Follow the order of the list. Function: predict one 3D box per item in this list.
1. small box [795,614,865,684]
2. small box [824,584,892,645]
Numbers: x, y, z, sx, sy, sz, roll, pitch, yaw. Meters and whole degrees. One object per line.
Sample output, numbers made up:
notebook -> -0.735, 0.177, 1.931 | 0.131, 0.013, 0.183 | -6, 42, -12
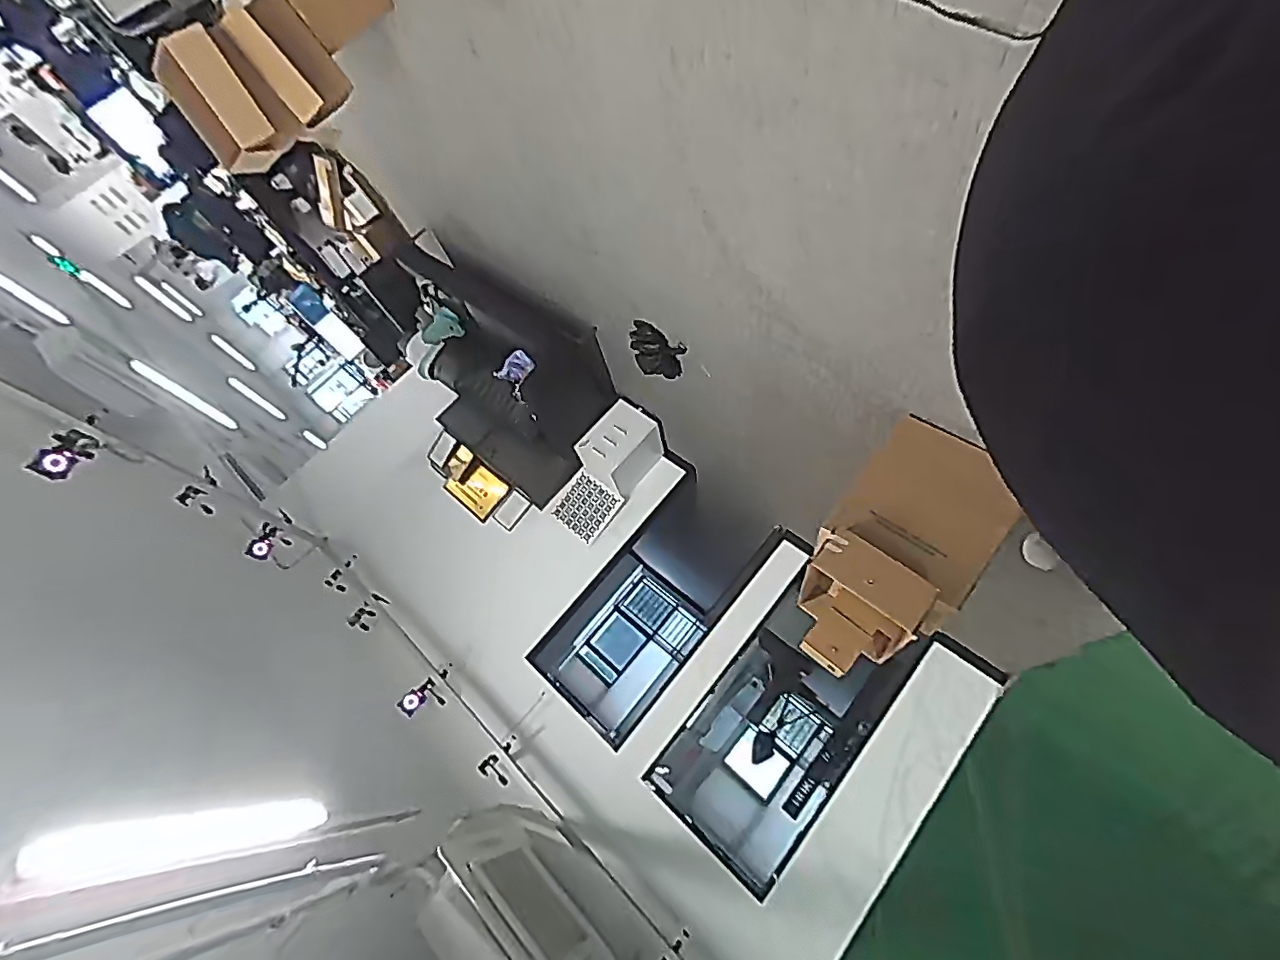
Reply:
small box -> 0.707, 0.630, 2.014 | 0.179, 0.176, 0.168 | 39, 167, 24
small box -> 0.818, 0.516, 2.052 | 0.179, 0.176, 0.168 | 38, 168, 27
